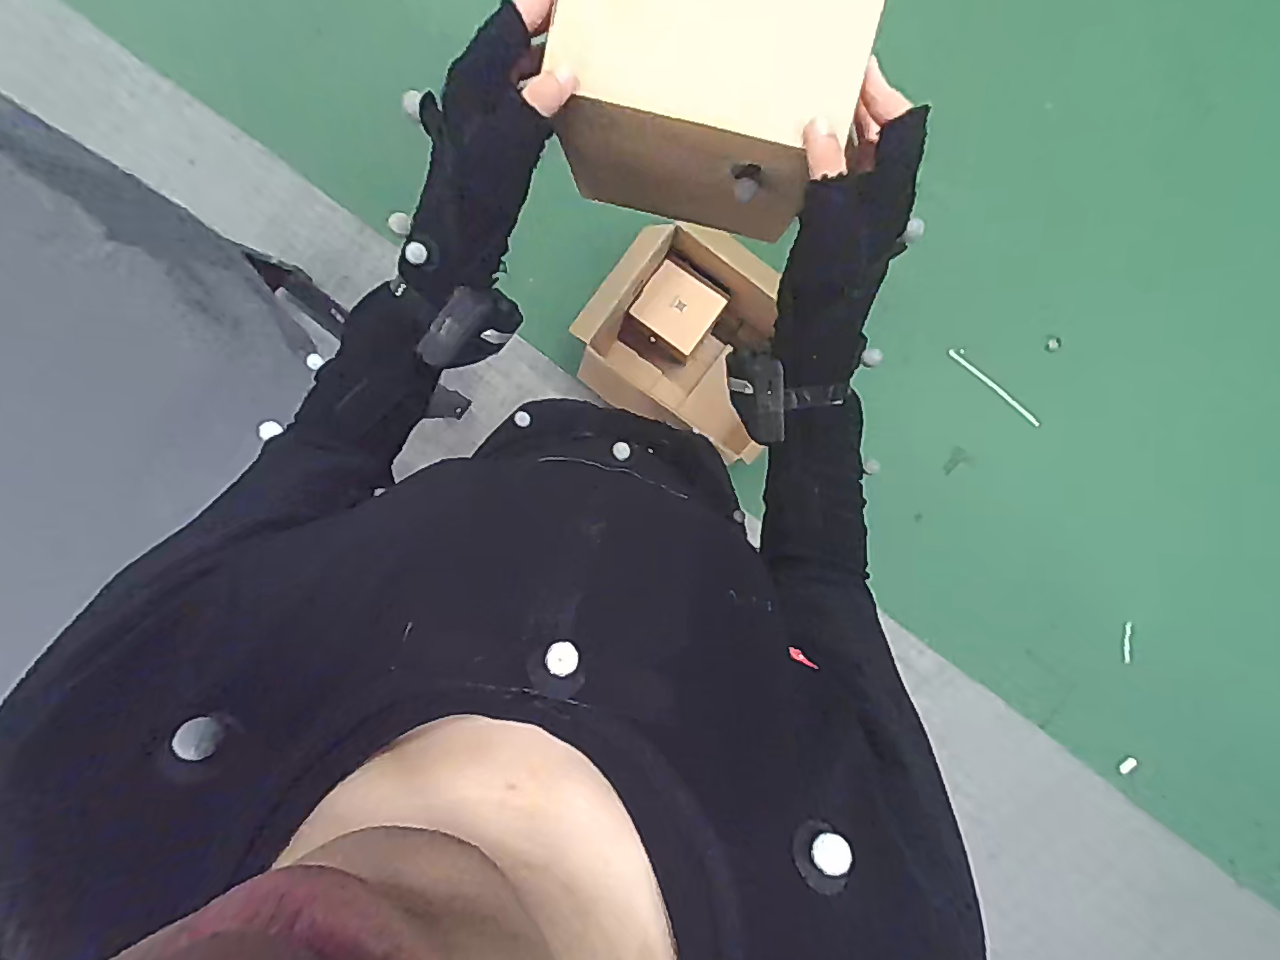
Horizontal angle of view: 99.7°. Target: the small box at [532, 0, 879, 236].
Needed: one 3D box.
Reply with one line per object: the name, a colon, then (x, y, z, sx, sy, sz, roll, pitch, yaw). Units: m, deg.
small box: (0.045, -0.284, 0.366, 0.179, 0.176, 0.168, 13, 99, 0)
